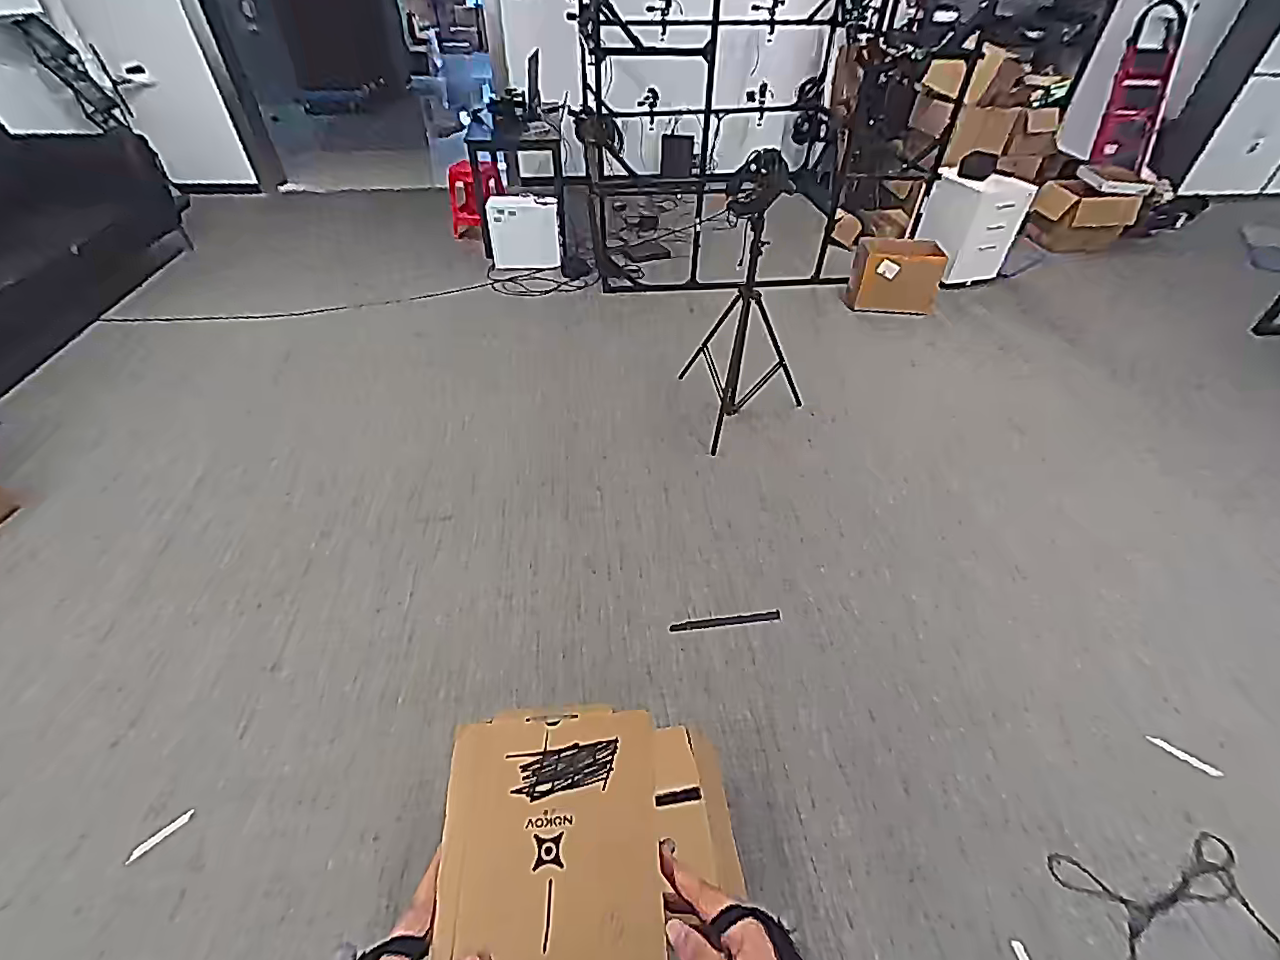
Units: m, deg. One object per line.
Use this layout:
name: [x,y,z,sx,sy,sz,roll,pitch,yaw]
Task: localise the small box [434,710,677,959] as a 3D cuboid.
small box: [-0.062,0.317,0.468,0.168,0.176,0.179,-4,52,-2]
